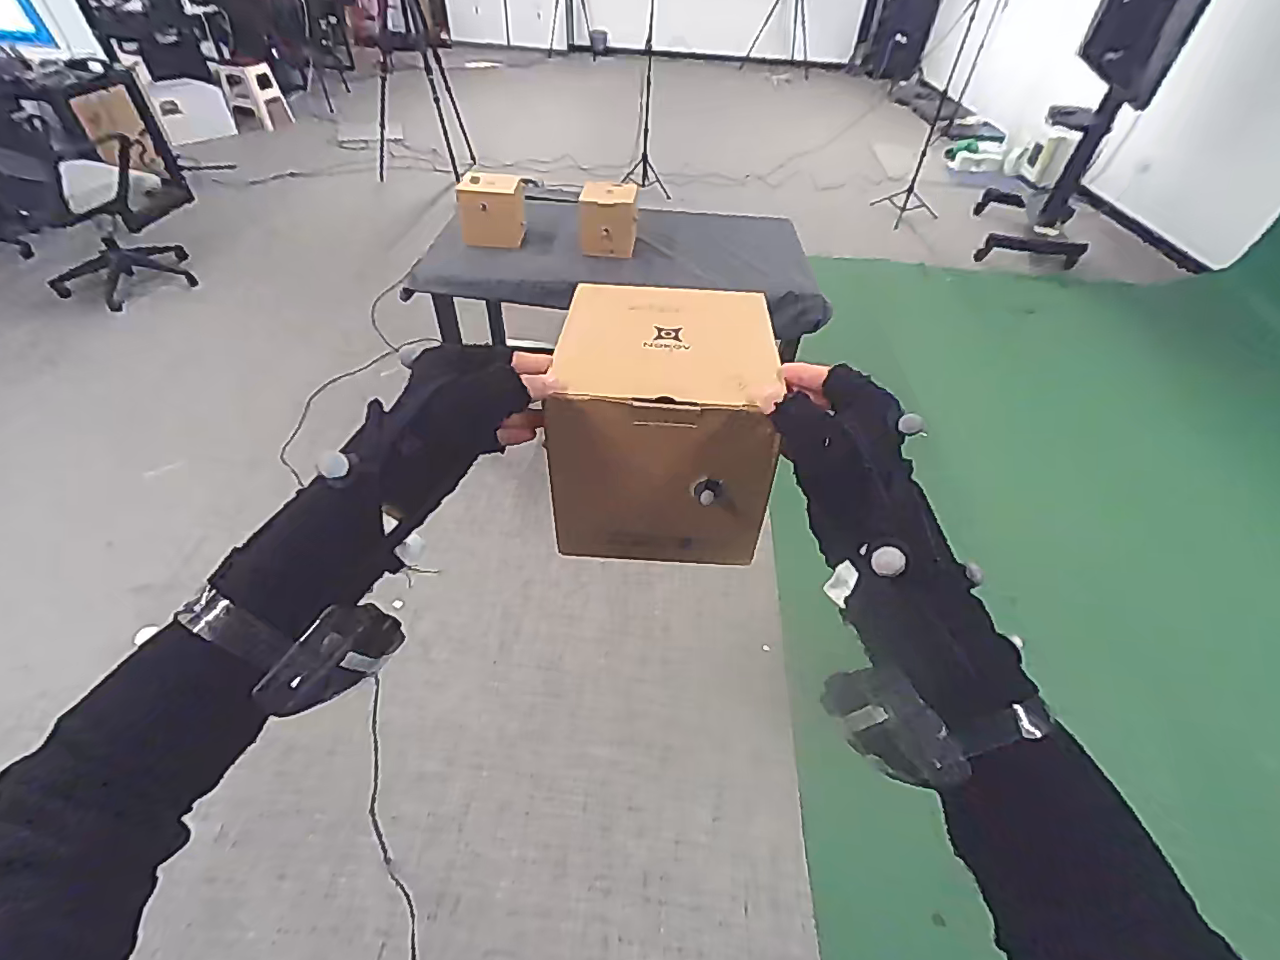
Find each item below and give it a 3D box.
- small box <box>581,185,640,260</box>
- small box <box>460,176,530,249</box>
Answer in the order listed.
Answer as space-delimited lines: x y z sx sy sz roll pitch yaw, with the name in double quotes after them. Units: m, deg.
-0.091 -0.821 1.728 0.168 0.176 0.179 5 46 1 "small box"
-0.459 -0.857 1.735 0.179 0.176 0.168 3 46 -3 "small box"
